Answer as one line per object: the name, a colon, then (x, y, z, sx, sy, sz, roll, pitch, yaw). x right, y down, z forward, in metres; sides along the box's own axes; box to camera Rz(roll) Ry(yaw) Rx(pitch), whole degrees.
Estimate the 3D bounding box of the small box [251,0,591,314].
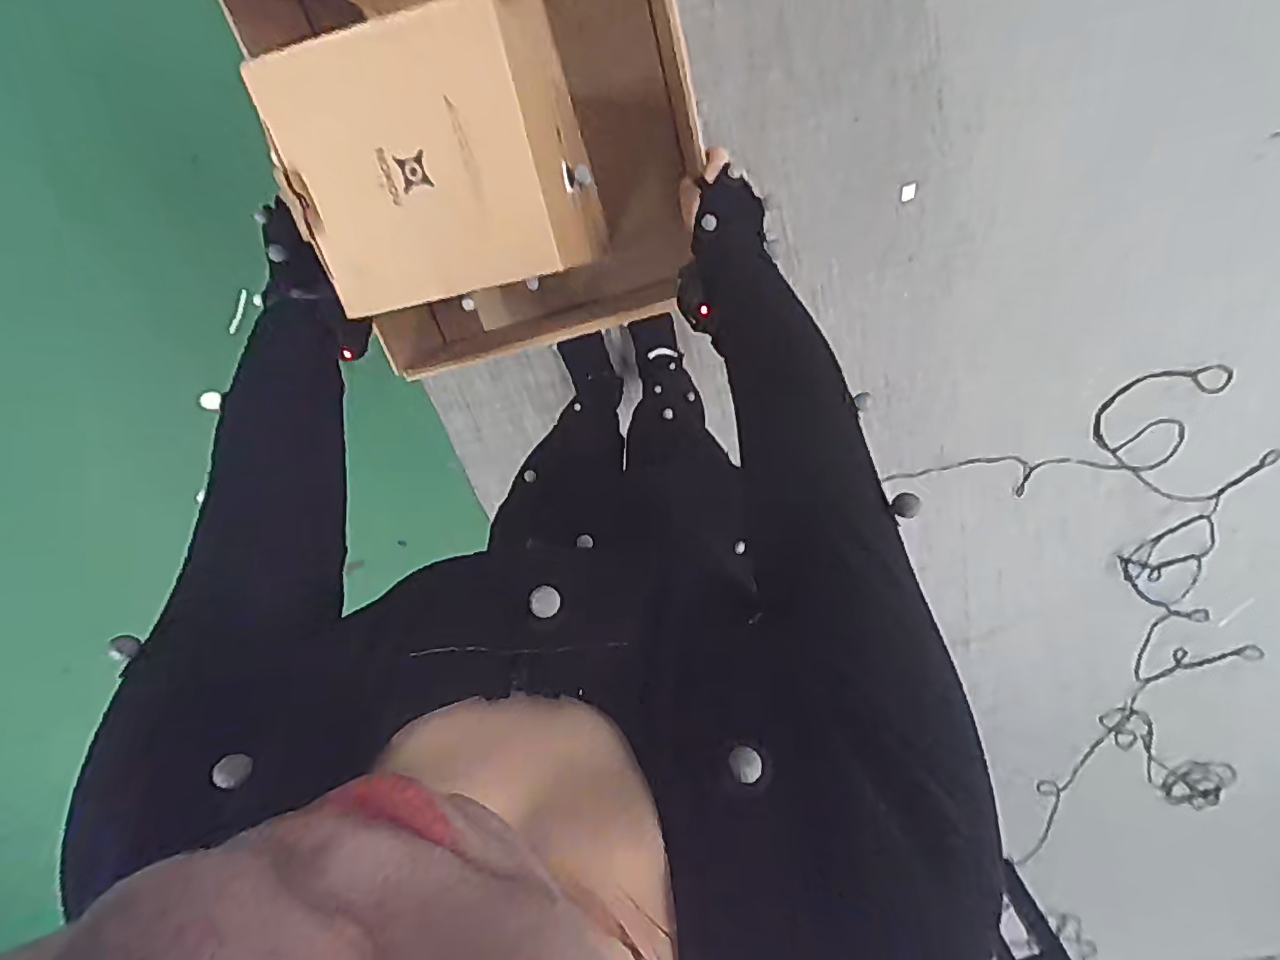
small box: (-0.151, -0.248, 0.446, 0.179, 0.176, 0.168, -10, 116, 8)
